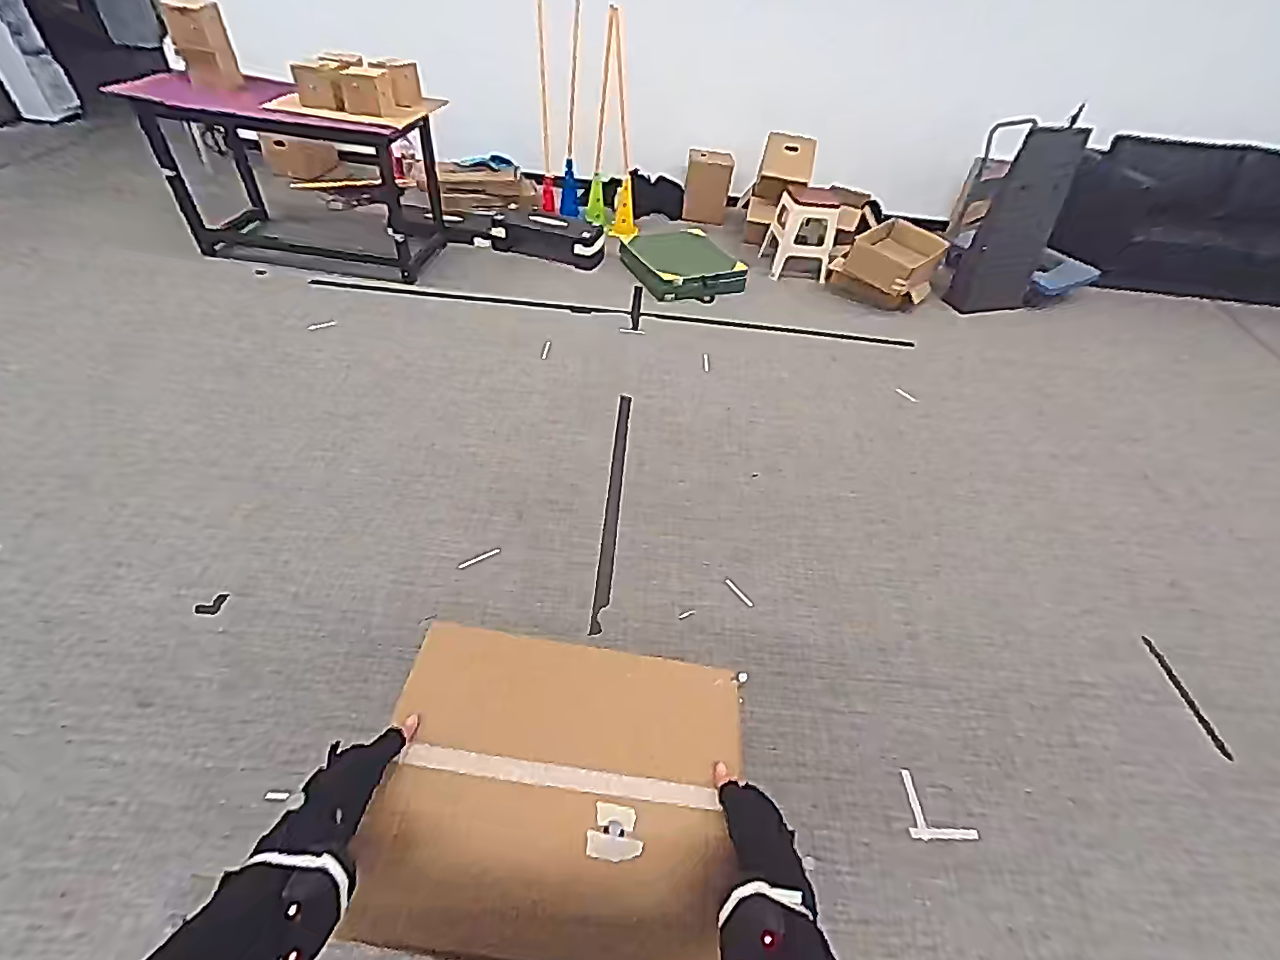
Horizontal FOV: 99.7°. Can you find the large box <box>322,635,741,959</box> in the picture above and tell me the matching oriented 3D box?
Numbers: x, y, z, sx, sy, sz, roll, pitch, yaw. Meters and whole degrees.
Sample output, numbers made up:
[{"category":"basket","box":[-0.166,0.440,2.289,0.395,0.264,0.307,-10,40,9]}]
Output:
[{"category":"large box","box":[-0.110,0.442,0.712,0.408,0.320,0.320,10,46,-2]}]
